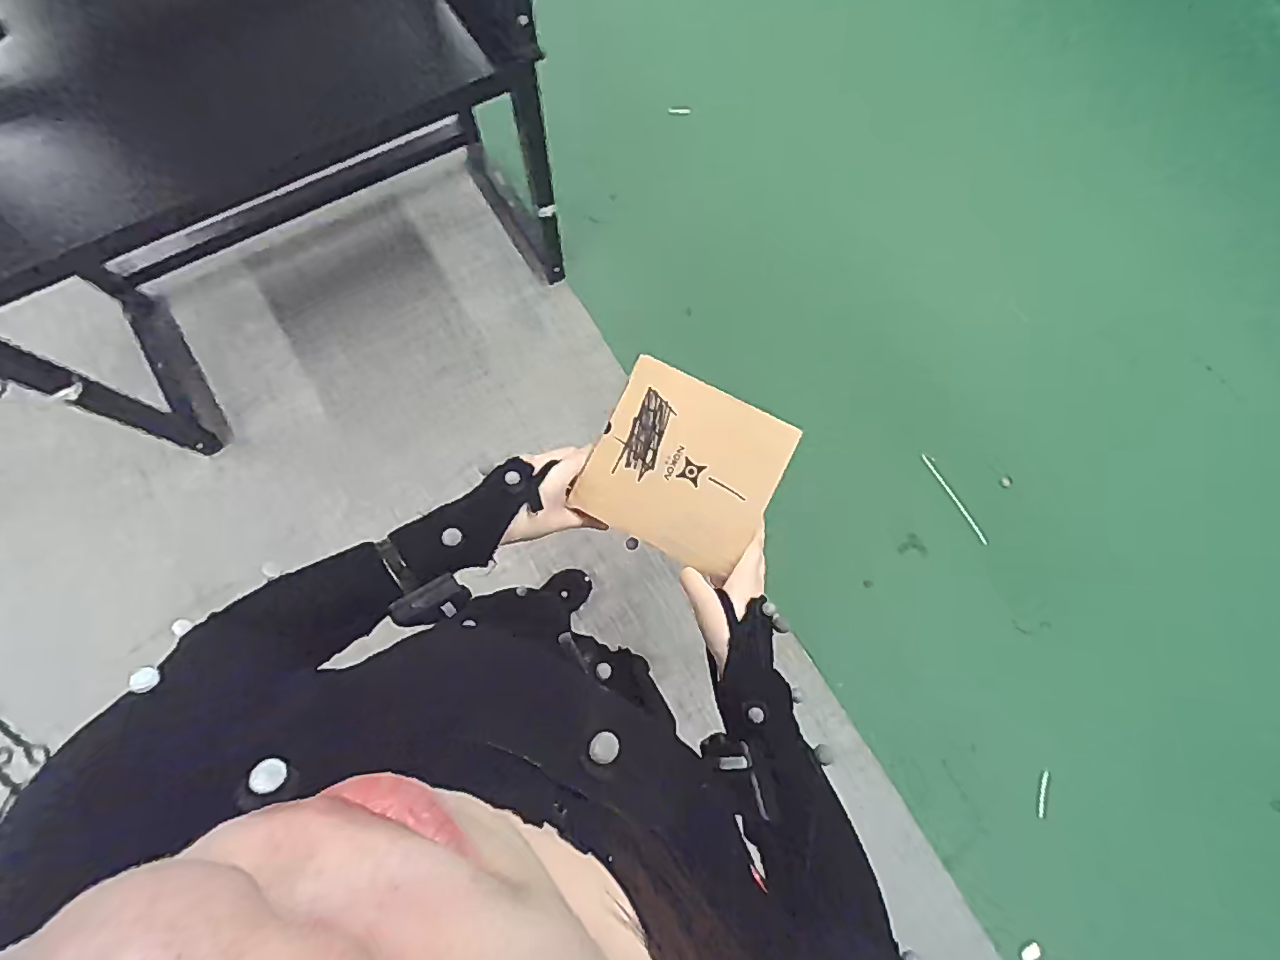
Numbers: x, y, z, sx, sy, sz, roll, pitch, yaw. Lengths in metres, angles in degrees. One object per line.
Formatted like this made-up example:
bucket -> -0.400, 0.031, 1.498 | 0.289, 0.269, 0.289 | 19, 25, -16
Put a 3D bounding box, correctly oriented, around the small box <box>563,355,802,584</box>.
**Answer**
small box -> 0.041, -0.004, 0.583 | 0.179, 0.176, 0.168 | 26, 86, 3
